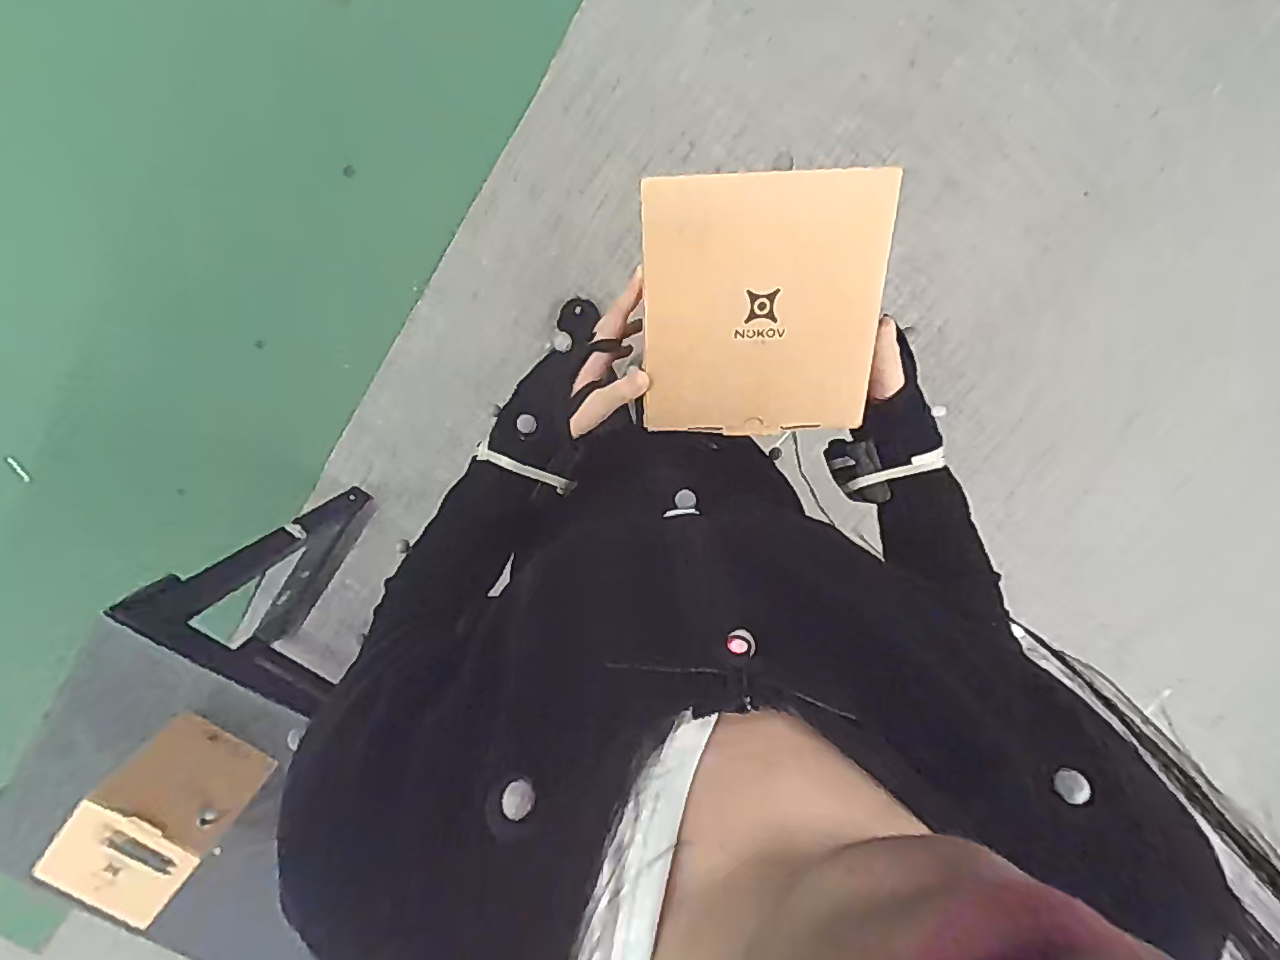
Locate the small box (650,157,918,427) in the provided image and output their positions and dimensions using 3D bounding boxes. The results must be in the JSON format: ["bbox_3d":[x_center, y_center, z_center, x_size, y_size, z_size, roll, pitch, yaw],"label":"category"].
[{"bbox_3d":[0.092,-0.153,0.441,0.168,0.176,0.179,0,116,1],"label":"small box"}]
